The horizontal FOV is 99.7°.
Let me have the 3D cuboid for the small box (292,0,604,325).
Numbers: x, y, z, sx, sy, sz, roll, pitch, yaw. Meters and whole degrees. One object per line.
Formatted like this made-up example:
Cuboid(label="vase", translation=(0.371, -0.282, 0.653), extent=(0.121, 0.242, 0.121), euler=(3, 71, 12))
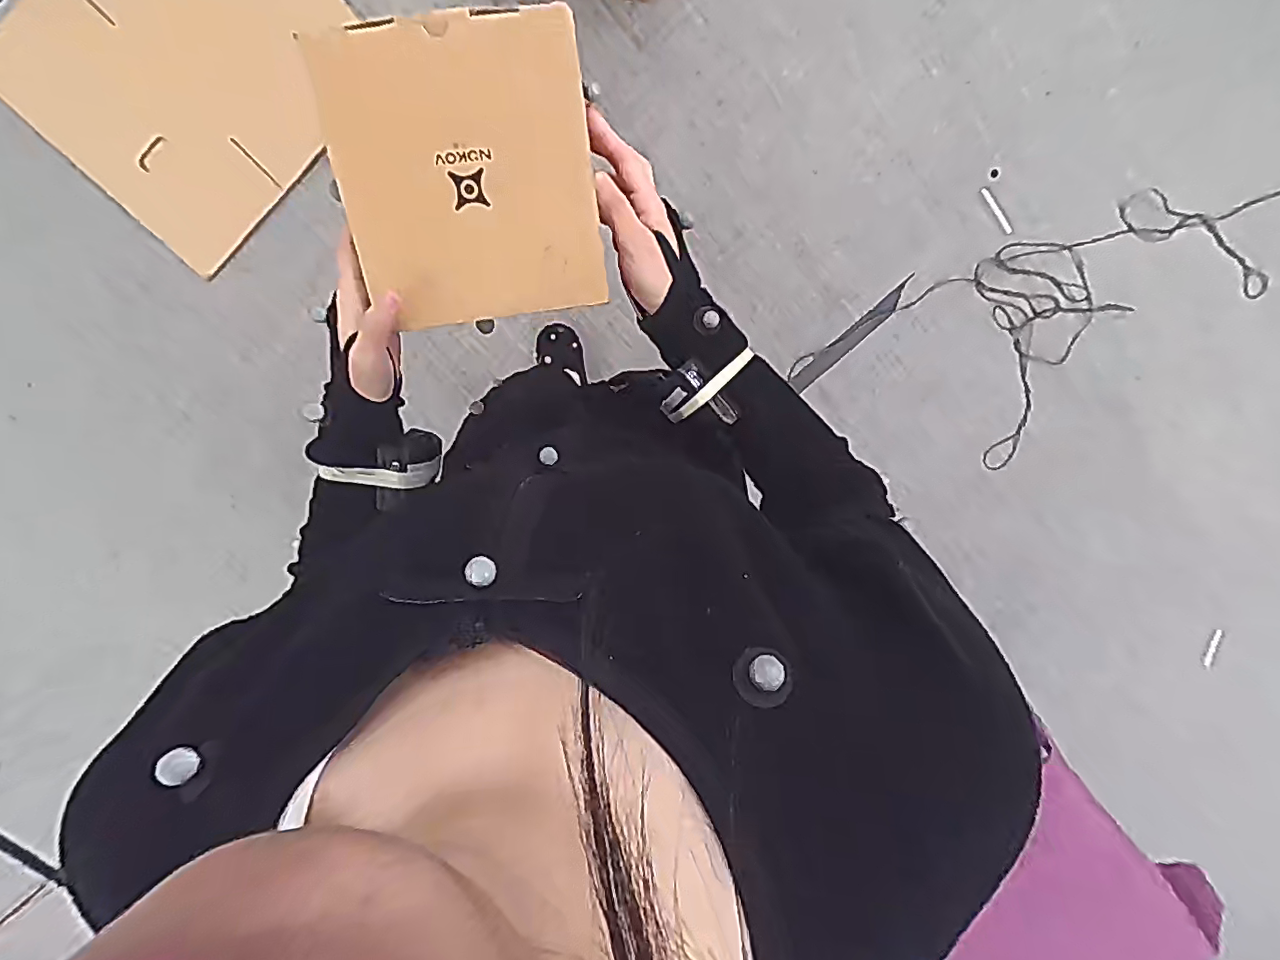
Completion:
Cuboid(label="small box", translation=(-0.119, -0.227, 0.420), extent=(0.168, 0.176, 0.179), euler=(-8, 111, -2))
